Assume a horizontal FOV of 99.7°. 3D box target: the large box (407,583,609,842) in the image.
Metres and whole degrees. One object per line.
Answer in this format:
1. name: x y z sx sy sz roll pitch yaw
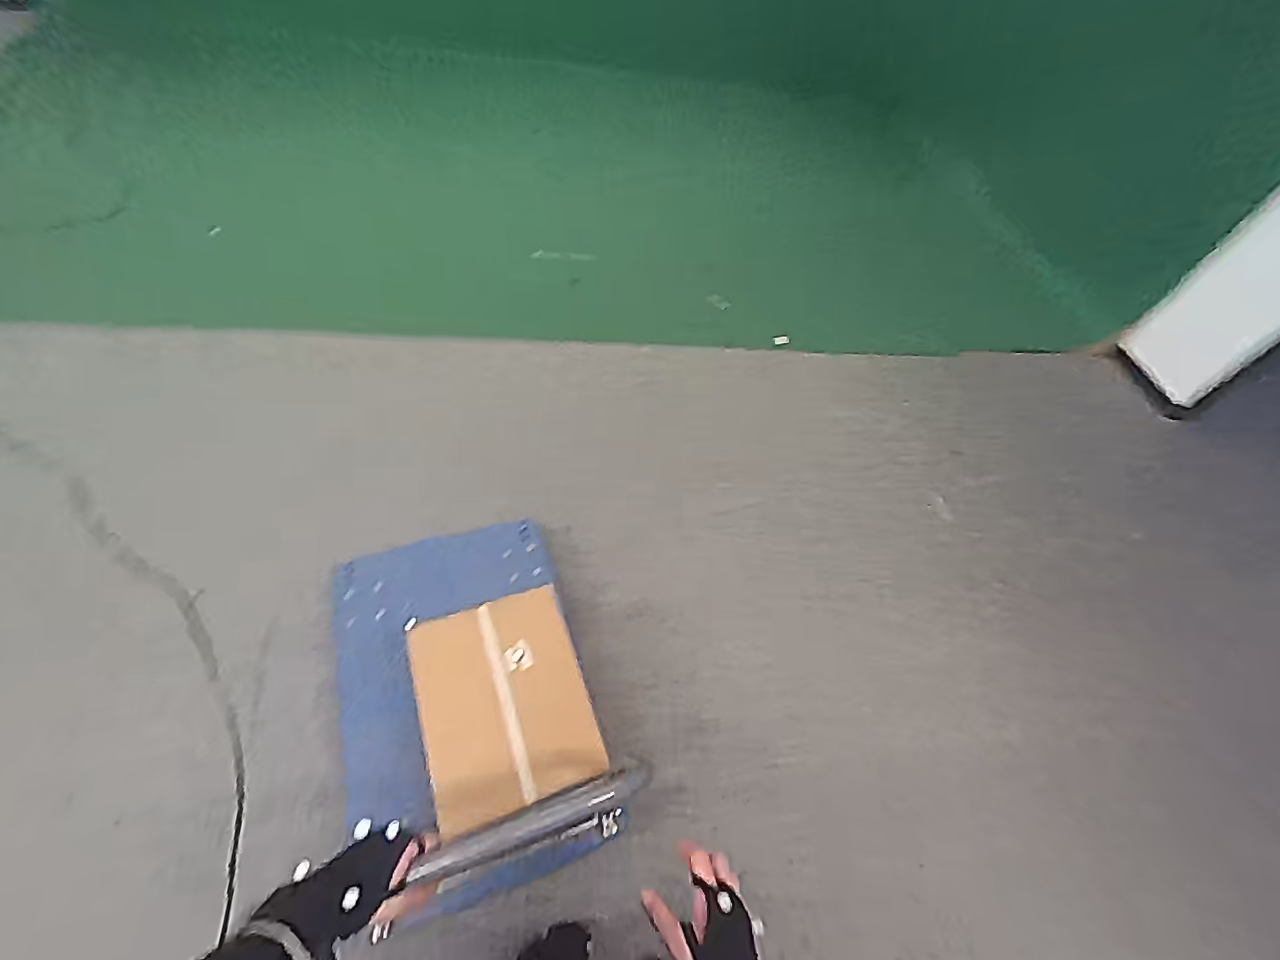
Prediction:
1. large box: -0.287 0.505 1.187 0.320 0.320 0.408 -14 58 -19
